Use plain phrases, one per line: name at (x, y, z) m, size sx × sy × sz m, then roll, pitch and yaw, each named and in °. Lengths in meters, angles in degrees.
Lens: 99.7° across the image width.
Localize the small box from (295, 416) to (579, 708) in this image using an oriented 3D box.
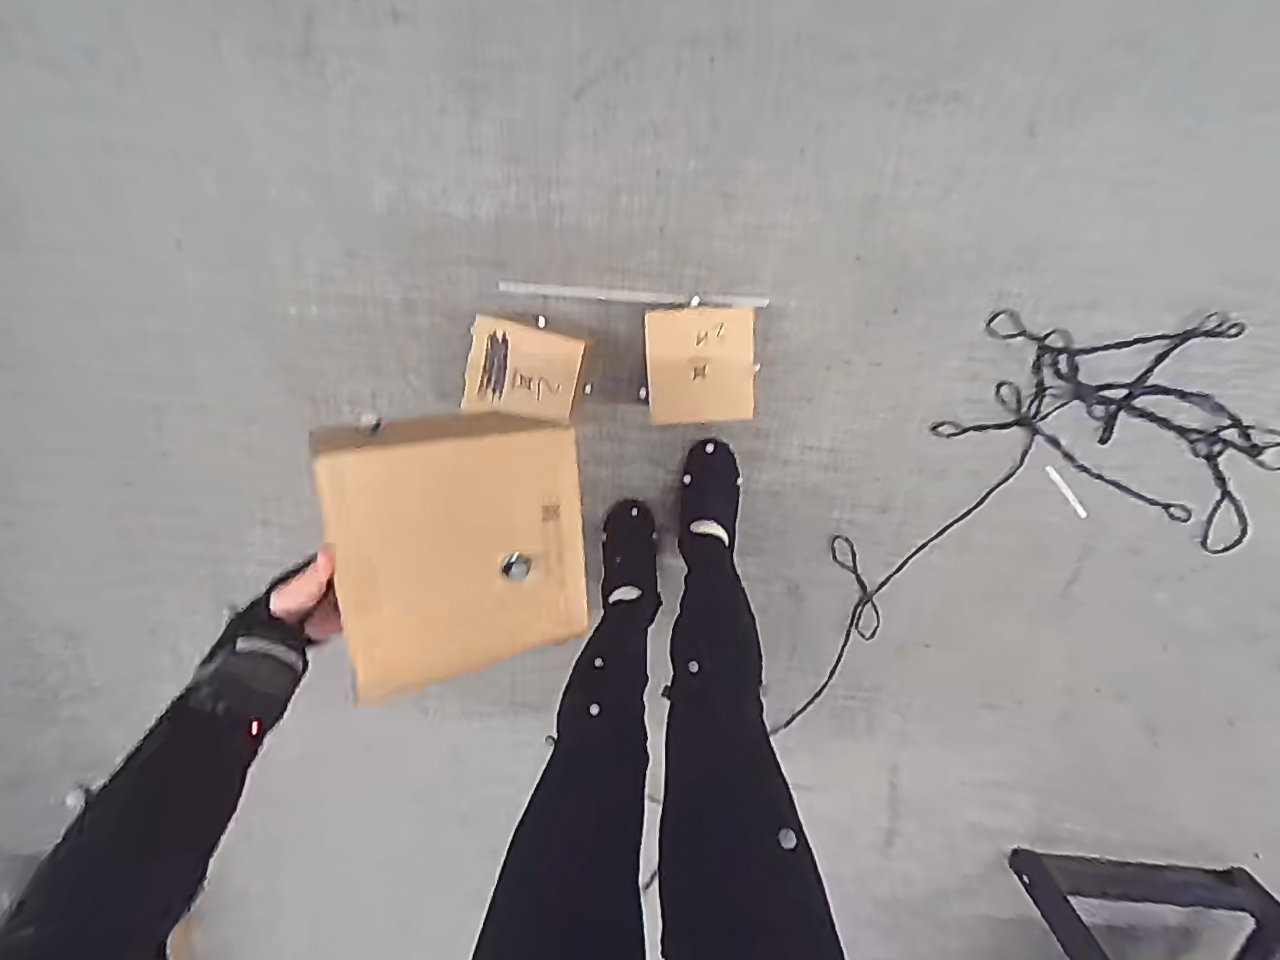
small box at (-0.160, 0.041, 0.433) m, size 0.176 × 0.179 × 0.168 m, roll -11°, pitch 104°, yaw -29°

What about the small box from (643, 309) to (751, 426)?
small box at (0.094, -0.195, 0.918) m, size 0.168 × 0.176 × 0.179 m, roll -3°, pitch 106°, yaw 3°
